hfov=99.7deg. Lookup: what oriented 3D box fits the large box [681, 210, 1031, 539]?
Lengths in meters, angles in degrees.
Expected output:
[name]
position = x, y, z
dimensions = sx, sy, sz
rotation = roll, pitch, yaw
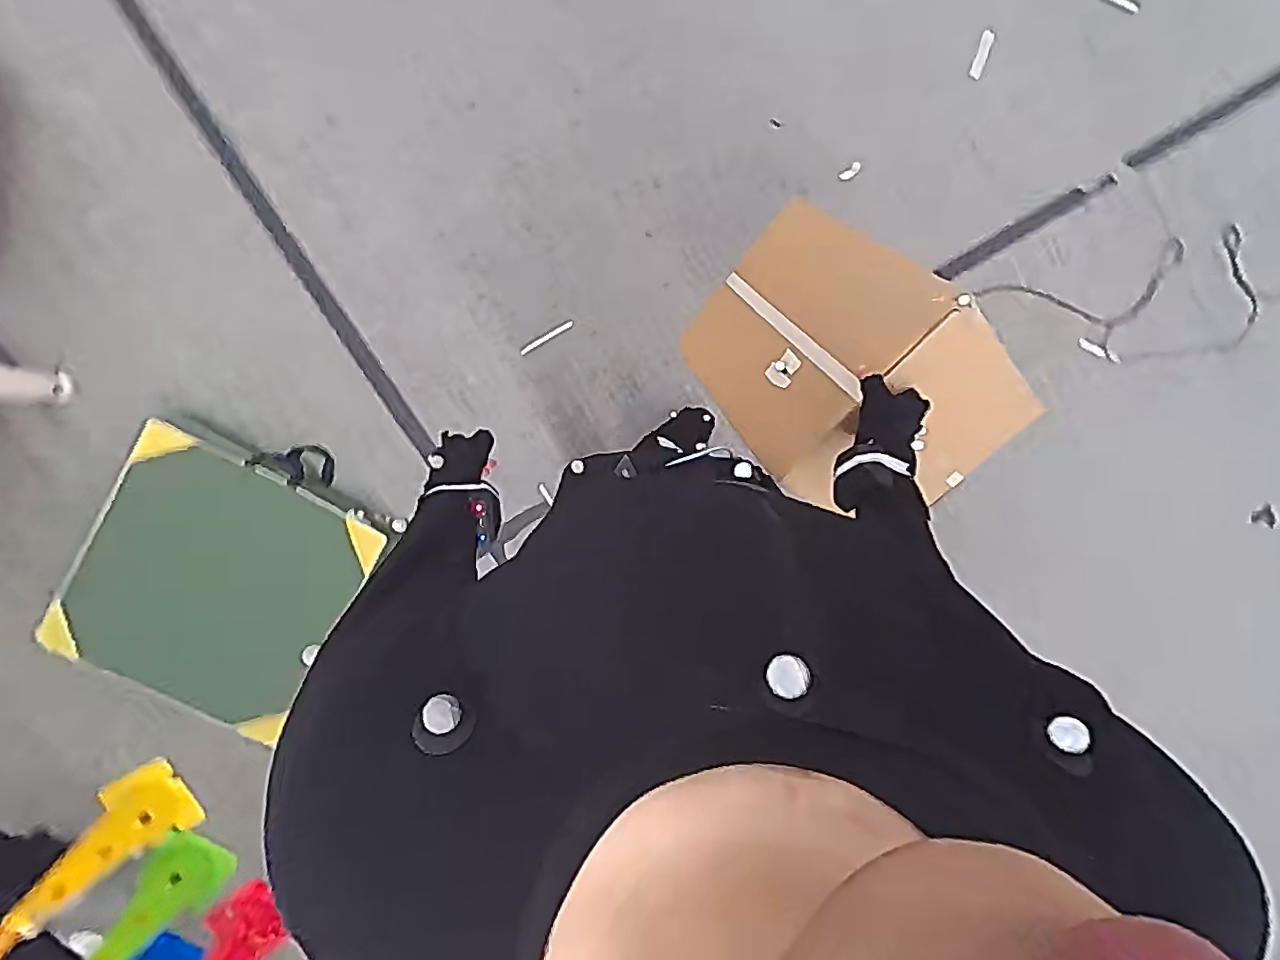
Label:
[large box]
position = 0.336, -0.175, 0.913
dimensions = 0.320, 0.408, 0.320
rotation = 26, 118, -38
